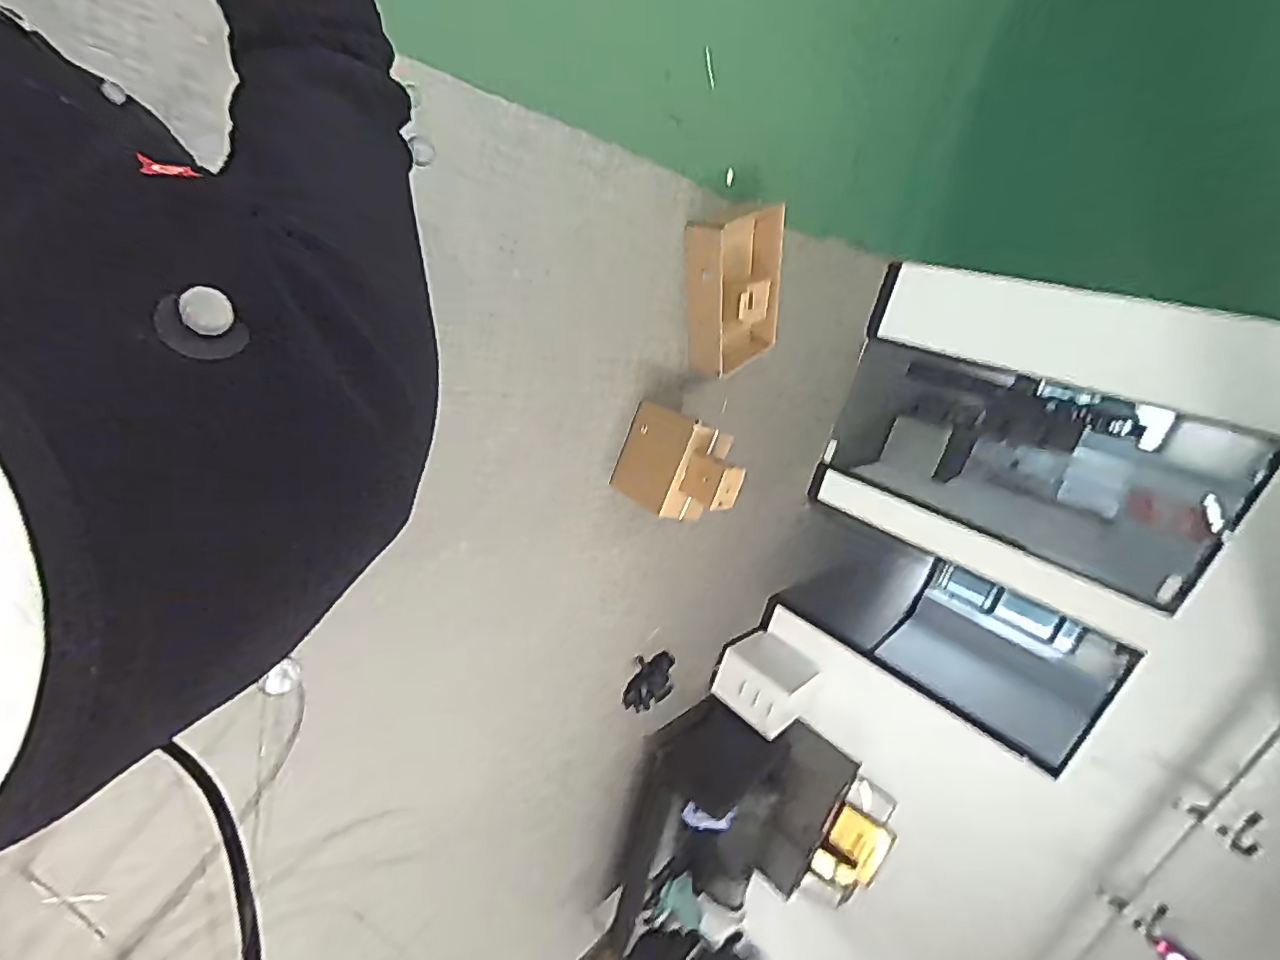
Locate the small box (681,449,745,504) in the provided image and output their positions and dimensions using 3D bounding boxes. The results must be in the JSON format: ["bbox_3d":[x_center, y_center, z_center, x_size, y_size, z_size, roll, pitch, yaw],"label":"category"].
[{"bbox_3d":[0.291,-0.019,2.182,0.168,0.176,0.179,-1,114,-49],"label":"small box"}]

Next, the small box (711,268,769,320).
[{"bbox_3d":[0.412,-0.779,2.253,0.179,0.176,0.168,-29,133,-38],"label":"small box"}]
